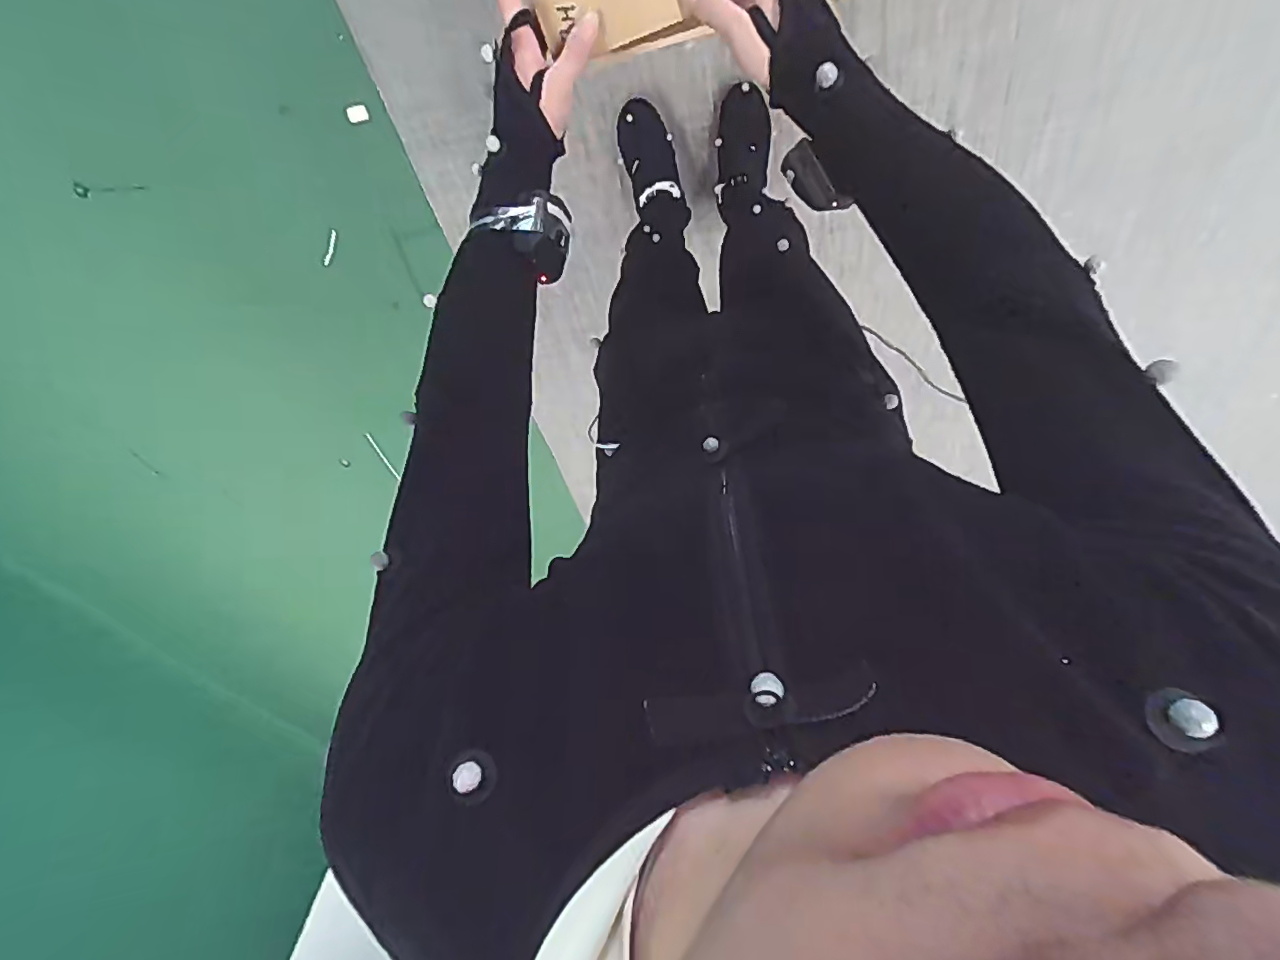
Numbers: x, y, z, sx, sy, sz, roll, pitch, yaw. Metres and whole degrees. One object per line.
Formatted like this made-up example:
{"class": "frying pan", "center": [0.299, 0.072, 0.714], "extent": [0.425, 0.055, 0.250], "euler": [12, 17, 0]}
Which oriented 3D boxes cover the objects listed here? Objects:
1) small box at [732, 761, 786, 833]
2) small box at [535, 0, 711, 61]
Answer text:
{"class": "small box", "center": [0.403, 1.071, 1.829], "extent": [0.168, 0.176, 0.179], "euler": [-6, 132, 13]}
{"class": "small box", "center": [-0.013, -0.502, 0.460], "extent": [0.179, 0.176, 0.168], "euler": [-9, 136, 17]}
